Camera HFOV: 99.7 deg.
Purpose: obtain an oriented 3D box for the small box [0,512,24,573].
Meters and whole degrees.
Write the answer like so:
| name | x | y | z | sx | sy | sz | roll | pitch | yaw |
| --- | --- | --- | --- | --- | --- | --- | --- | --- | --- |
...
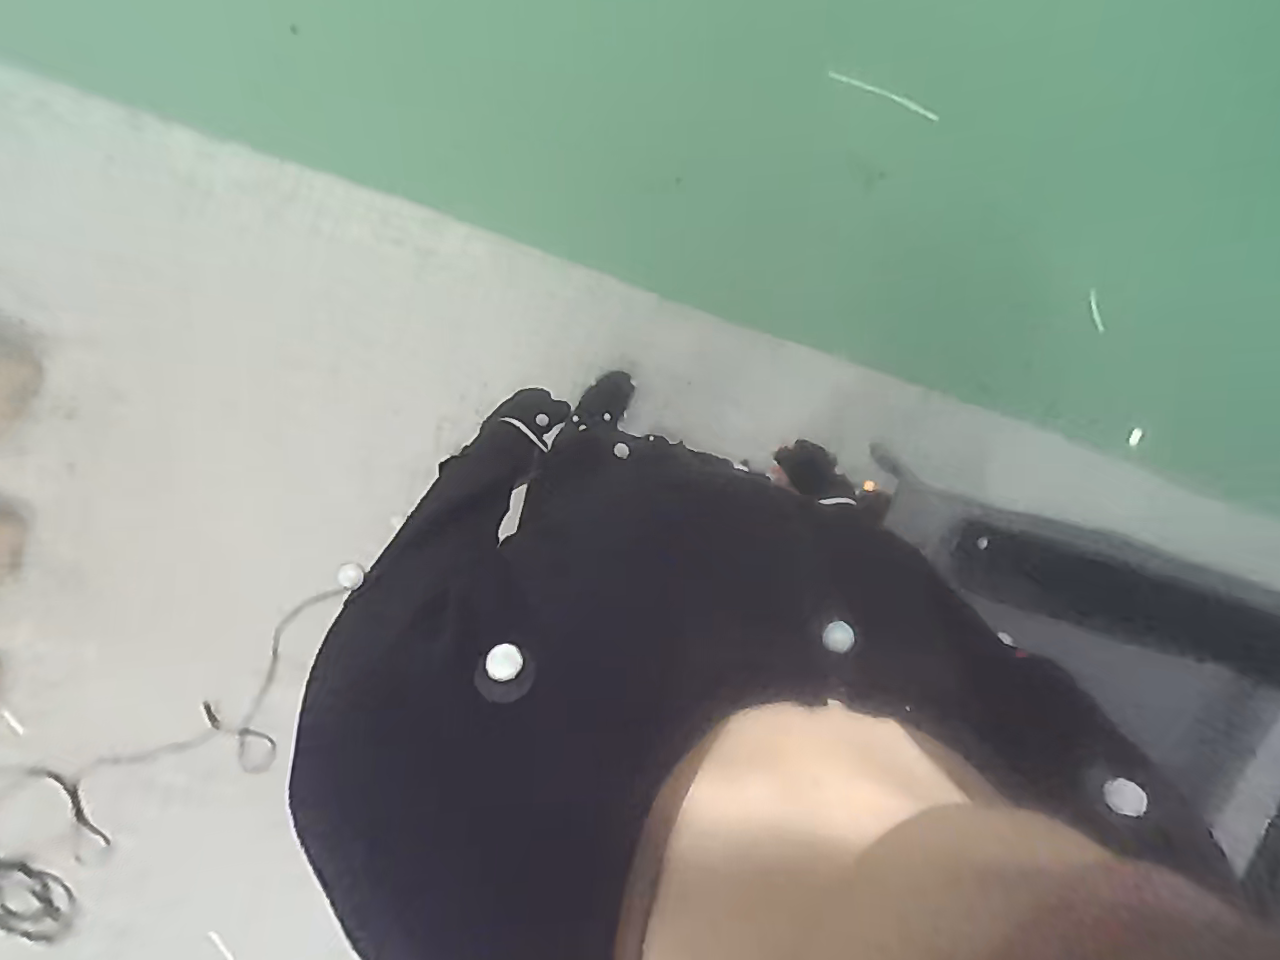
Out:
| name | x | y | z | sx | sy | sz | roll | pitch | yaw |
| --- | --- | --- | --- | --- | --- | --- | --- | --- | --- |
| small box | -1.722 | 0.158 | 1.347 | 0.179 | 0.176 | 0.168 | 22 | 96 | -5 |
